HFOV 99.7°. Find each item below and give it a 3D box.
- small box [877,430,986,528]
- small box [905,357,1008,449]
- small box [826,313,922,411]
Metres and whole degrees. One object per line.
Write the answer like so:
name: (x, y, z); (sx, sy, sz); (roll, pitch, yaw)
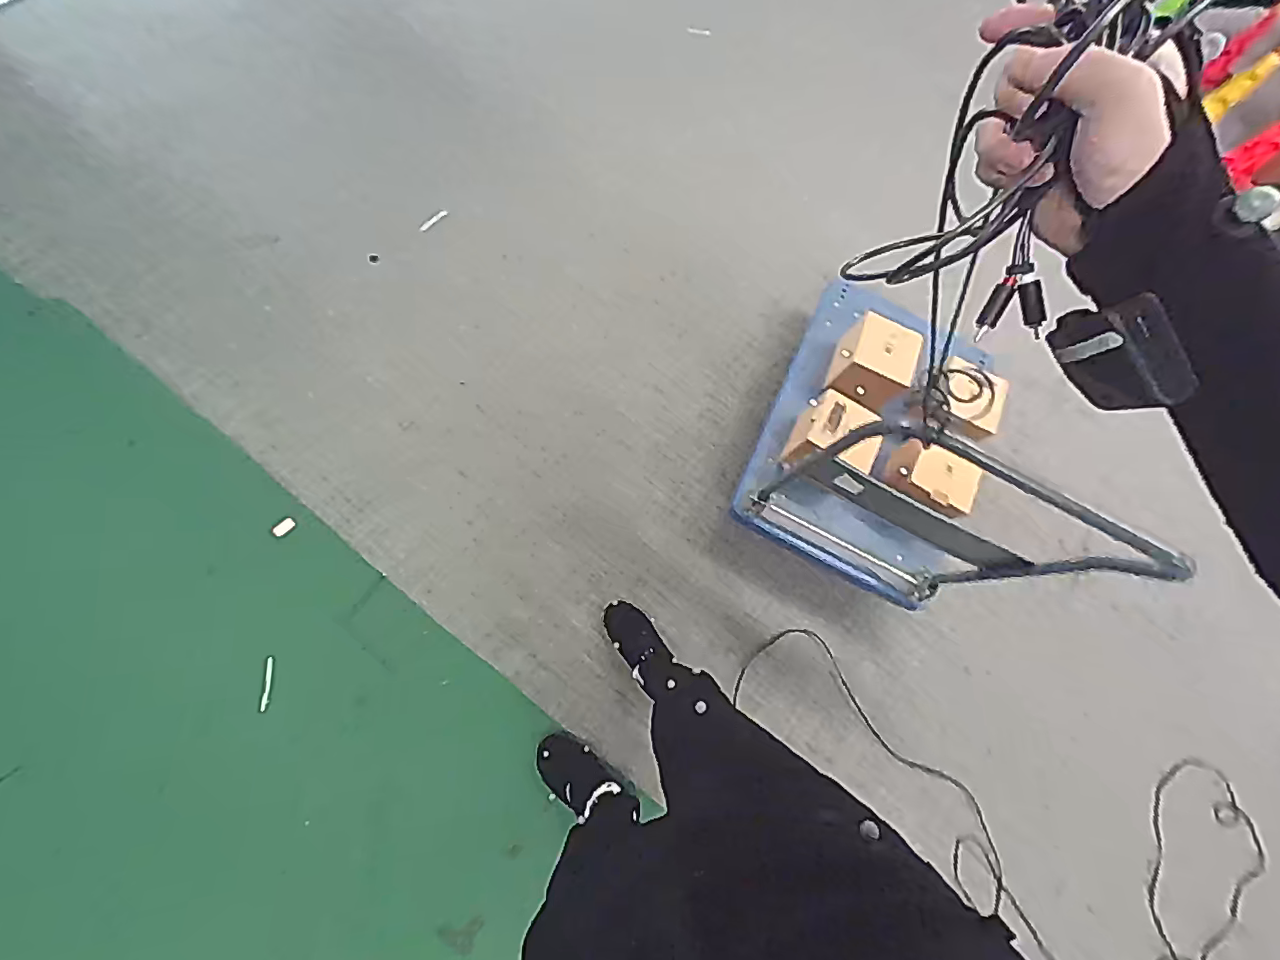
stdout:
small box: (0.753, 0.003, 1.414); (0.168, 0.176, 0.179); (29, 71, 1)
small box: (0.866, -0.199, 1.493); (0.168, 0.176, 0.179); (26, 71, 1)
small box: (0.639, -0.319, 1.495); (0.168, 0.176, 0.179); (25, 71, -1)
